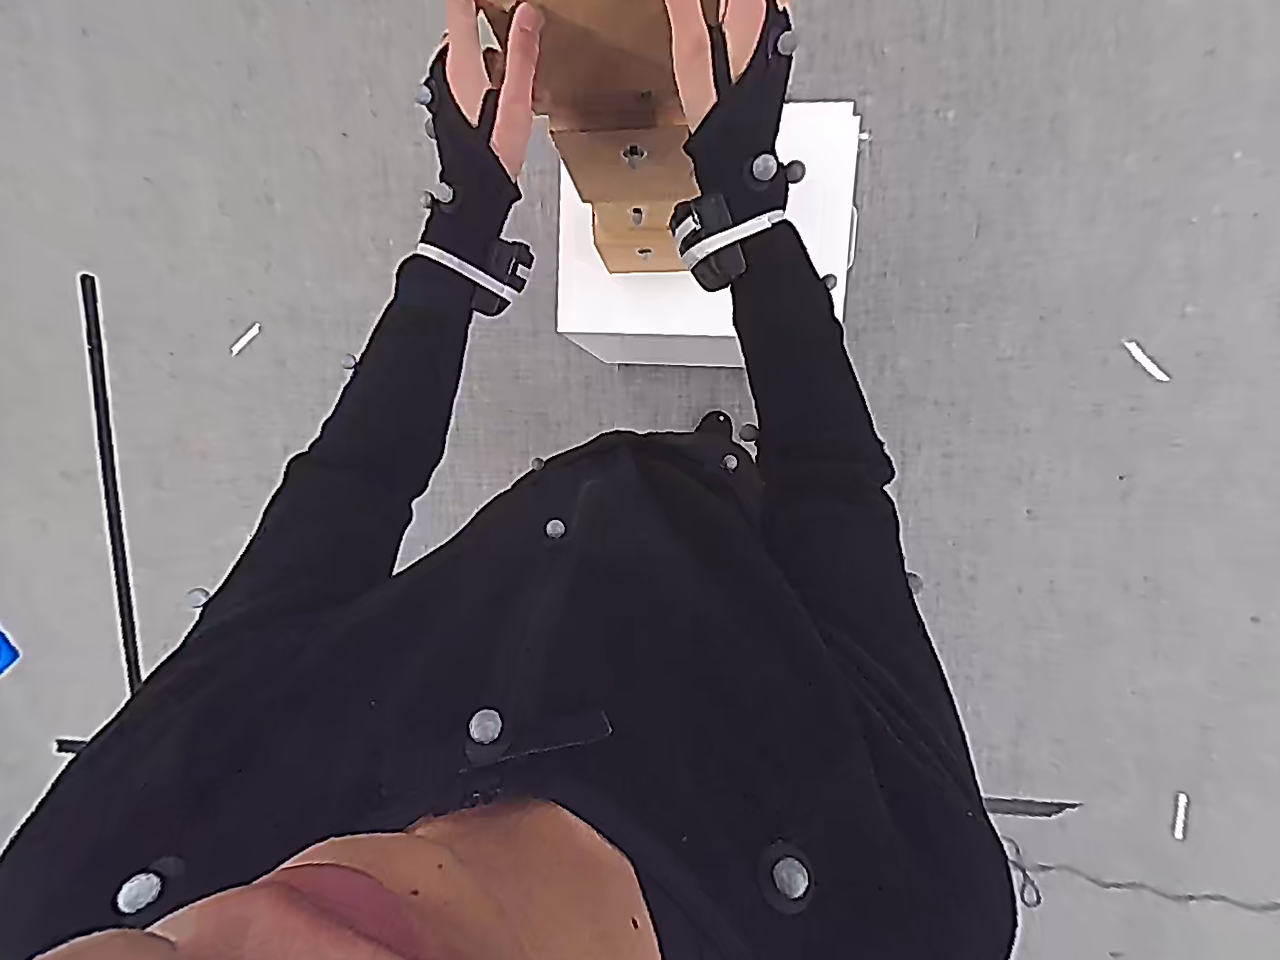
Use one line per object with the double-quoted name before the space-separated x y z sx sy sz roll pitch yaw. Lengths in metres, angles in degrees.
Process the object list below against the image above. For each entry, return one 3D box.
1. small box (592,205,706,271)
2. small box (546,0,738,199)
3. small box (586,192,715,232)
"small box" 0.021 -0.451 0.891 0.179 0.176 0.168 0 96 4
"small box" 0.008 -0.412 0.567 0.179 0.176 0.168 1 96 4
"small box" 0.020 -0.448 0.729 0.168 0.176 0.179 1 95 4
